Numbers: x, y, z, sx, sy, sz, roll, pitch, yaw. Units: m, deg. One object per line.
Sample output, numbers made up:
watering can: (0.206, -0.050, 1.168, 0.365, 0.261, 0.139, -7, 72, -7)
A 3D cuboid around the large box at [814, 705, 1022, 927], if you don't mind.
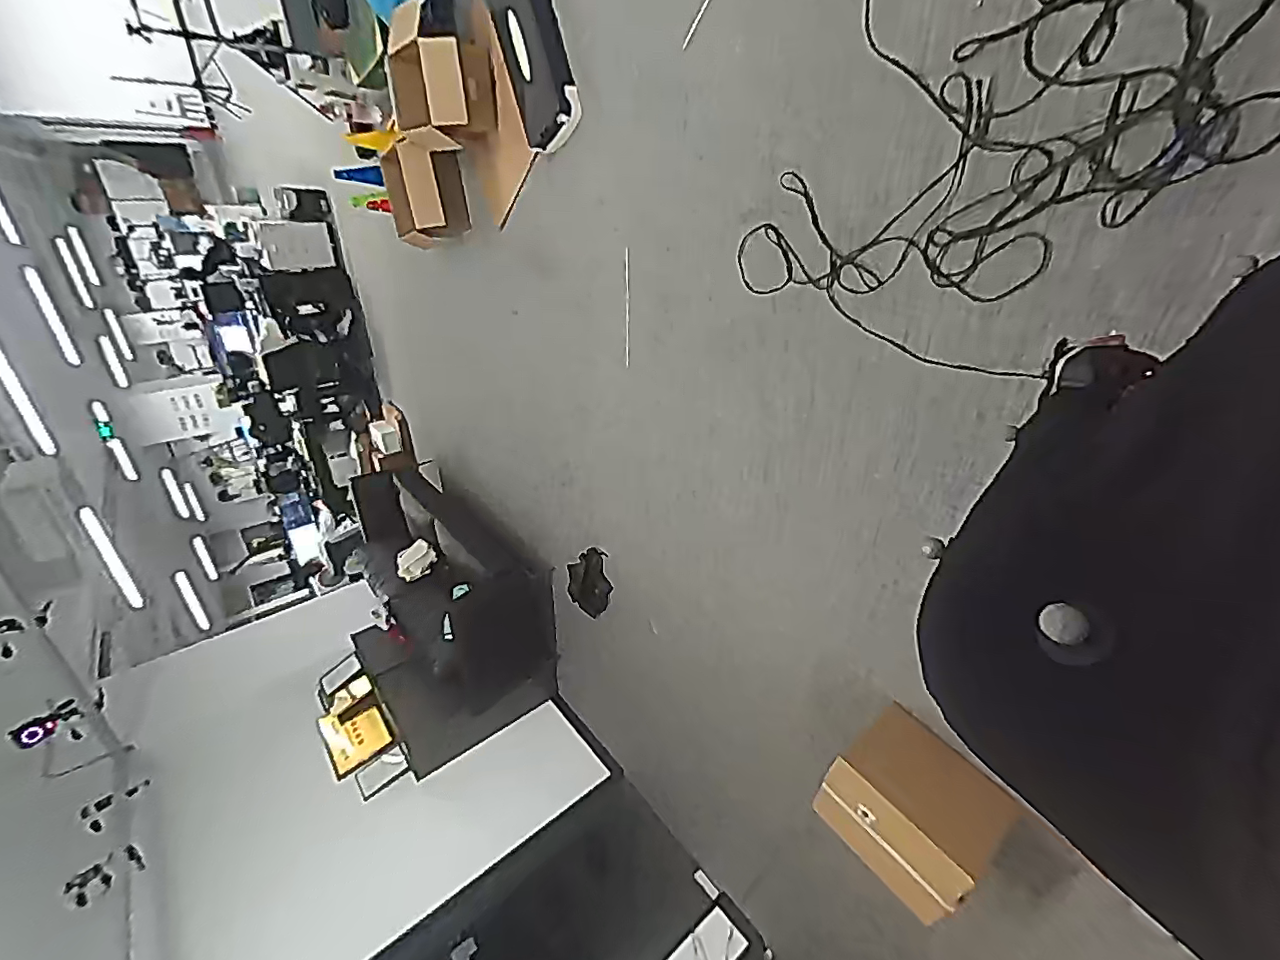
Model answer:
large box: (0.810, 0.976, 1.612, 0.408, 0.320, 0.320, 38, 135, 38)
